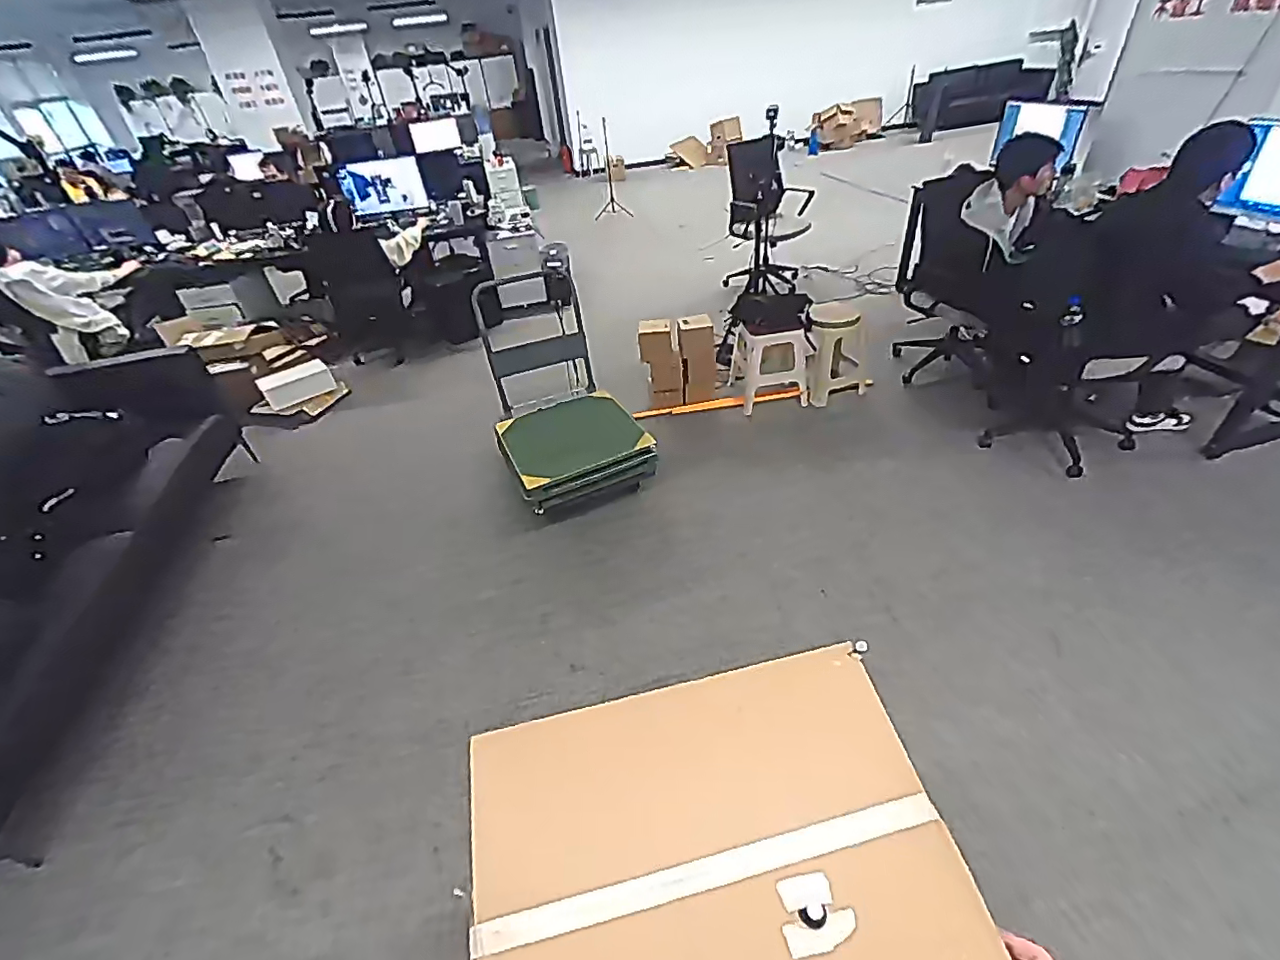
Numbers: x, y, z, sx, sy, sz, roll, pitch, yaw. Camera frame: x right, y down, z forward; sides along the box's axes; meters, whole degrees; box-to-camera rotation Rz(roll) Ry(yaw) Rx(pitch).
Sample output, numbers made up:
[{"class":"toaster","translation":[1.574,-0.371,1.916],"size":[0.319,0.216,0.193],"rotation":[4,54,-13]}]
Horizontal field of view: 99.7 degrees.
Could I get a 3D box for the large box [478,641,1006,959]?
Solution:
[{"class":"large box","translation":[0.070,0.424,0.586],"size":[0.408,0.320,0.320],"rotation":[-12,53,-7]}]
